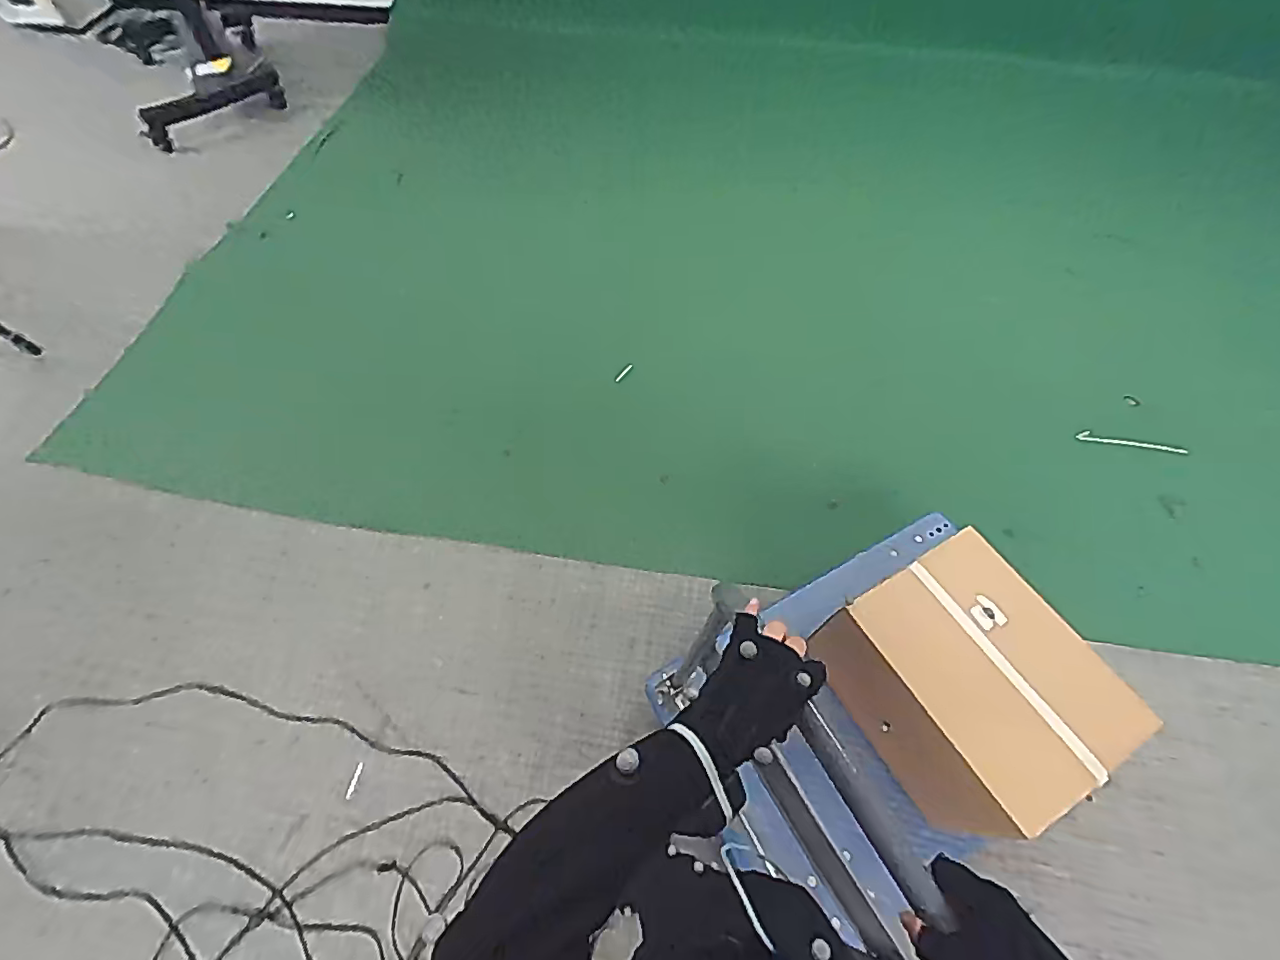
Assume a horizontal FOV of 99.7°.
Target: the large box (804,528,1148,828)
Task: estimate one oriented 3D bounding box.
[{"bbox_3d":[0.593,0.379,1.047,0.320,0.320,0.408,-27,63,-15],"label":"large box"}]
